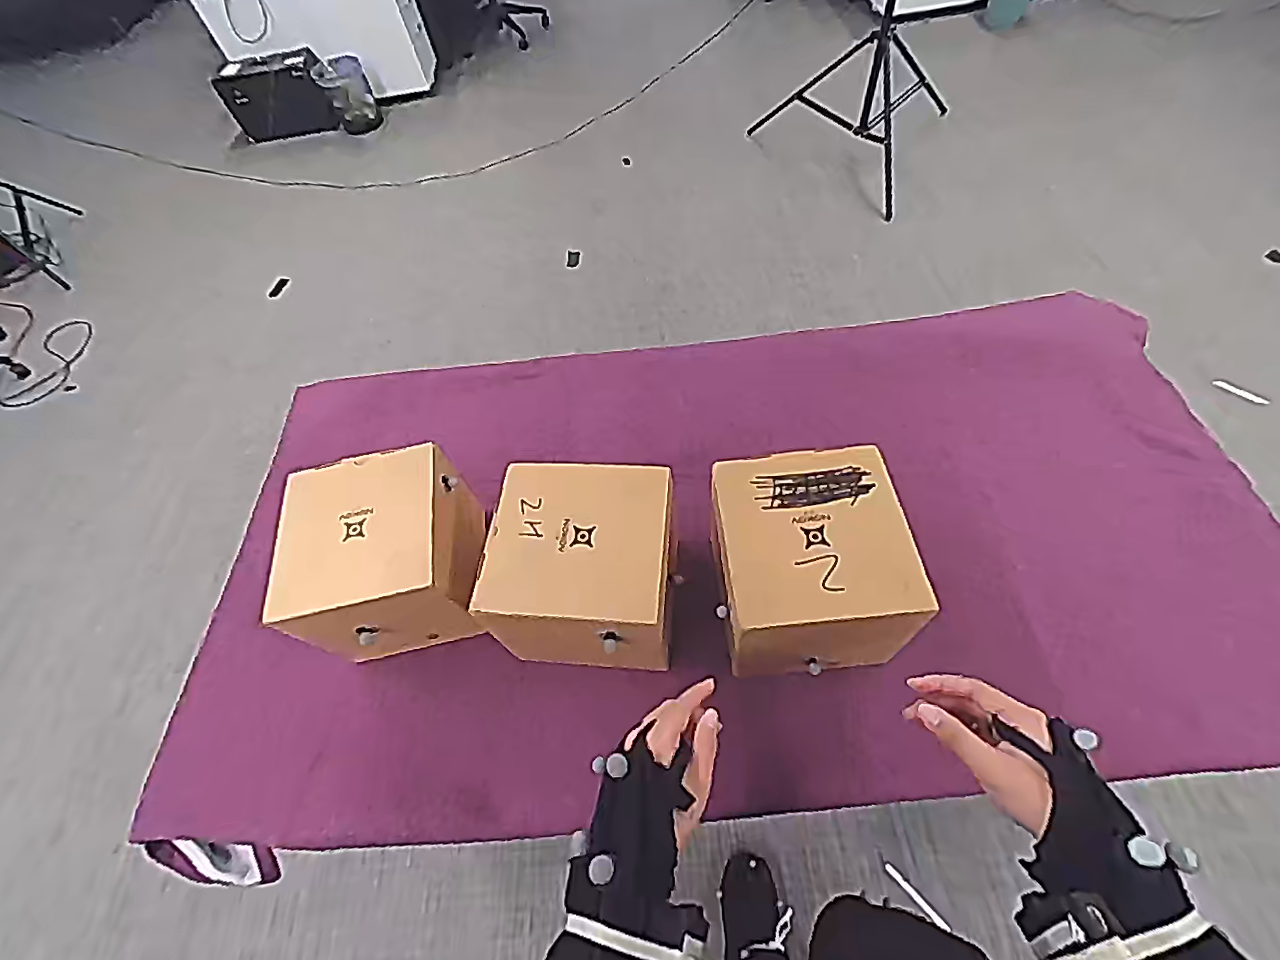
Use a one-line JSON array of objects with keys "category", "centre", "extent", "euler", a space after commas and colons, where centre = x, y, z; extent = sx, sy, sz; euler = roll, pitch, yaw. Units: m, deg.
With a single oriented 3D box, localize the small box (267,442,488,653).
[{"category": "small box", "centre": [-0.284, 0.088, 0.626], "extent": [0.168, 0.176, 0.179], "euler": [-14, 57, -1]}]
